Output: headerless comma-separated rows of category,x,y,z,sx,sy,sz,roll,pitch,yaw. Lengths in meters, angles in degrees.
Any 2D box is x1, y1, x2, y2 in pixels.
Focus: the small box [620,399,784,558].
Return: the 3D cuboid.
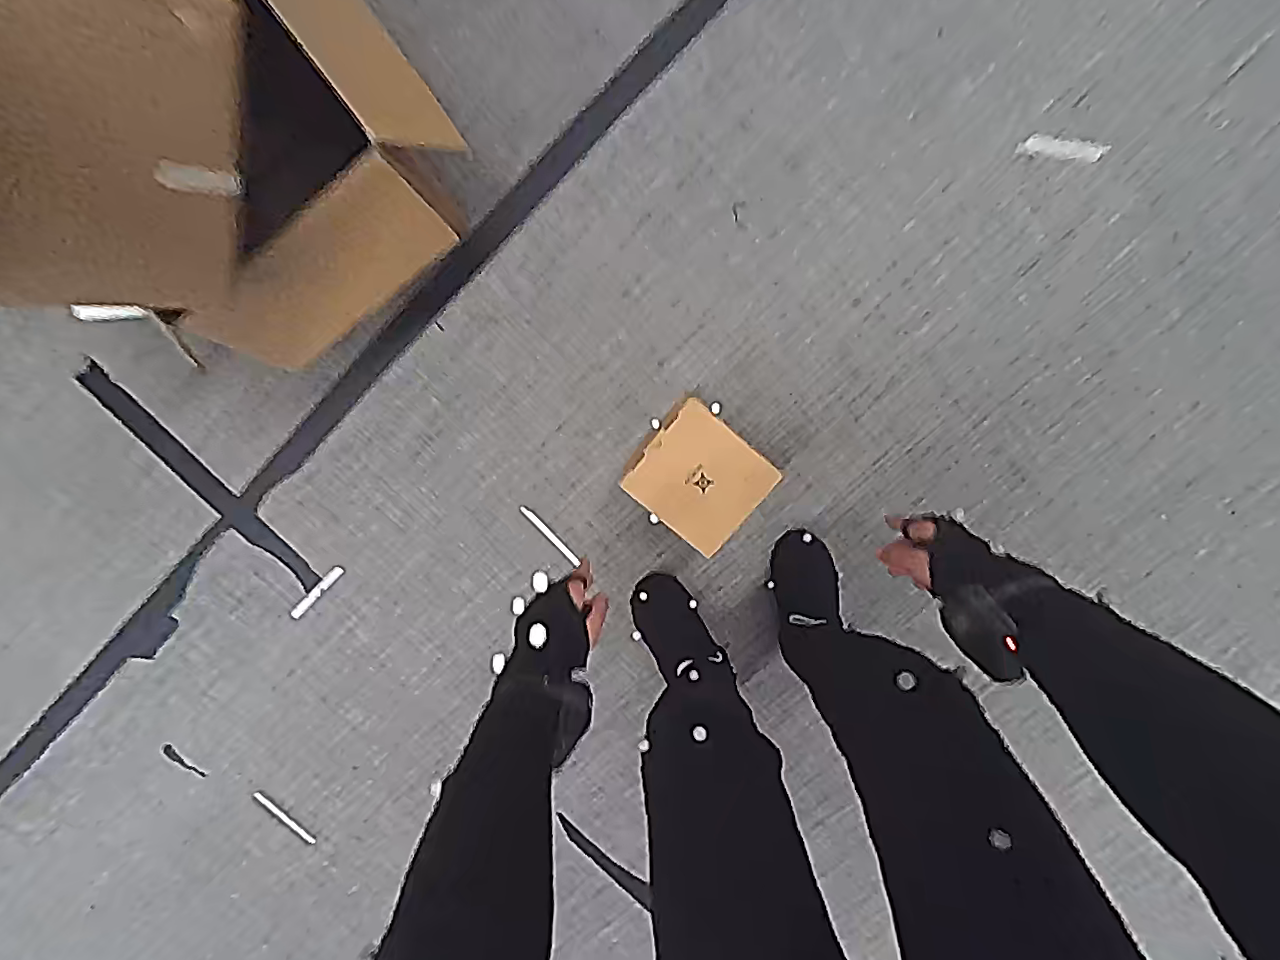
small box,0.091,-0.014,0.844,0.179,0.176,0.168,39,99,-6
